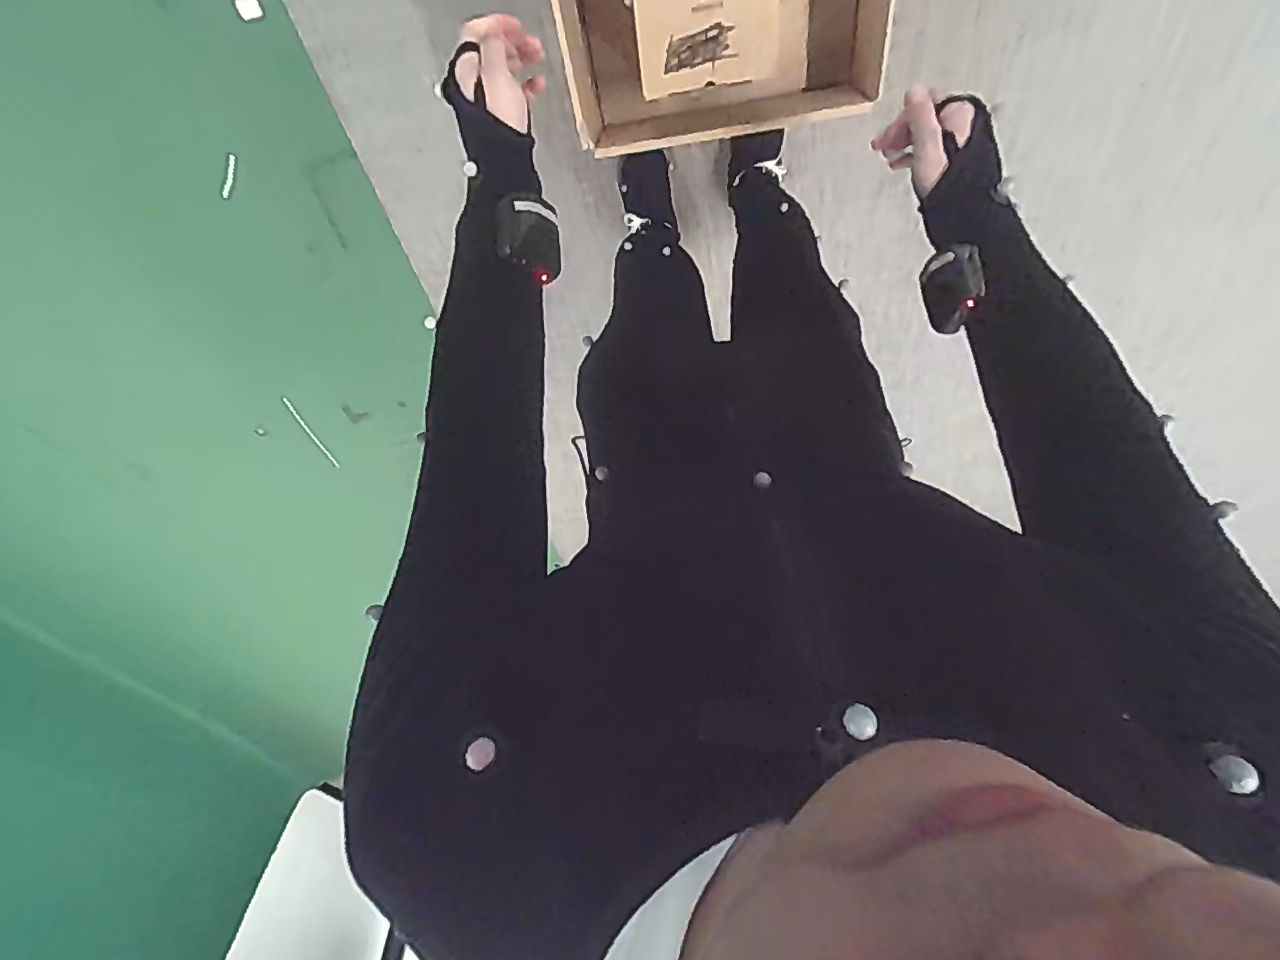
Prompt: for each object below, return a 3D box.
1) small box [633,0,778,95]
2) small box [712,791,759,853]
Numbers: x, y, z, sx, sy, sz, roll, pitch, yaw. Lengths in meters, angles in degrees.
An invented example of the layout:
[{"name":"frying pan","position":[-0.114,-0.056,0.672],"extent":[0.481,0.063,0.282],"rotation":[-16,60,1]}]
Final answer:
[{"name":"small box","position":[0.078,-0.602,0.662],"extent":[0.168,0.176,0.179],"rotation":[-4,132,7]},{"name":"small box","position":[0.364,1.304,2.066],"extent":[0.168,0.176,0.179],"rotation":[-4,134,9]}]
